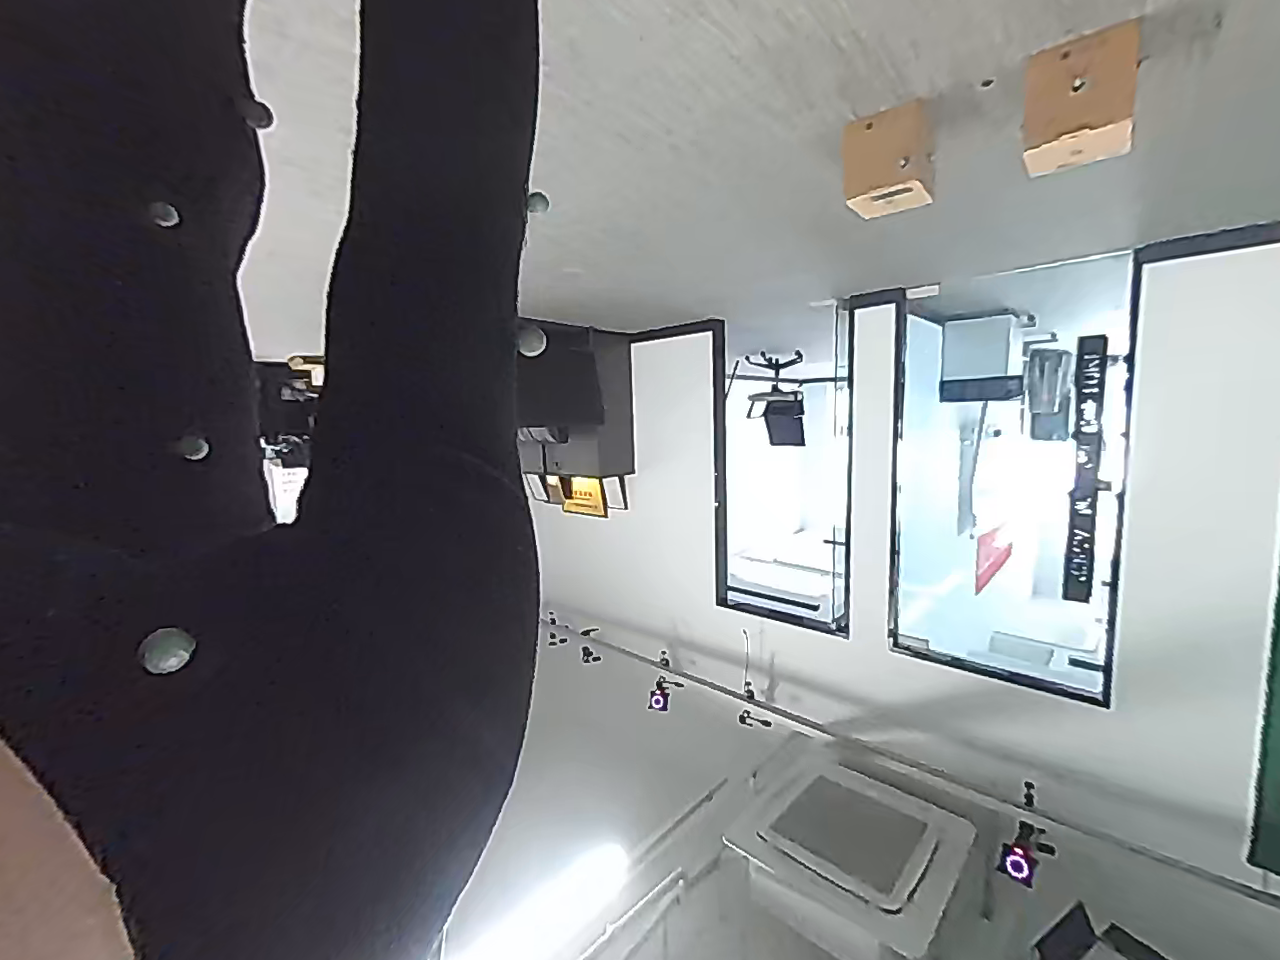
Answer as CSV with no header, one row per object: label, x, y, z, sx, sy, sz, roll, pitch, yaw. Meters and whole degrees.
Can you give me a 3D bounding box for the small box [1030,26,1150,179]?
small box,0.860,-0.720,1.040,0.168,0.176,0.179,4,-171,40
